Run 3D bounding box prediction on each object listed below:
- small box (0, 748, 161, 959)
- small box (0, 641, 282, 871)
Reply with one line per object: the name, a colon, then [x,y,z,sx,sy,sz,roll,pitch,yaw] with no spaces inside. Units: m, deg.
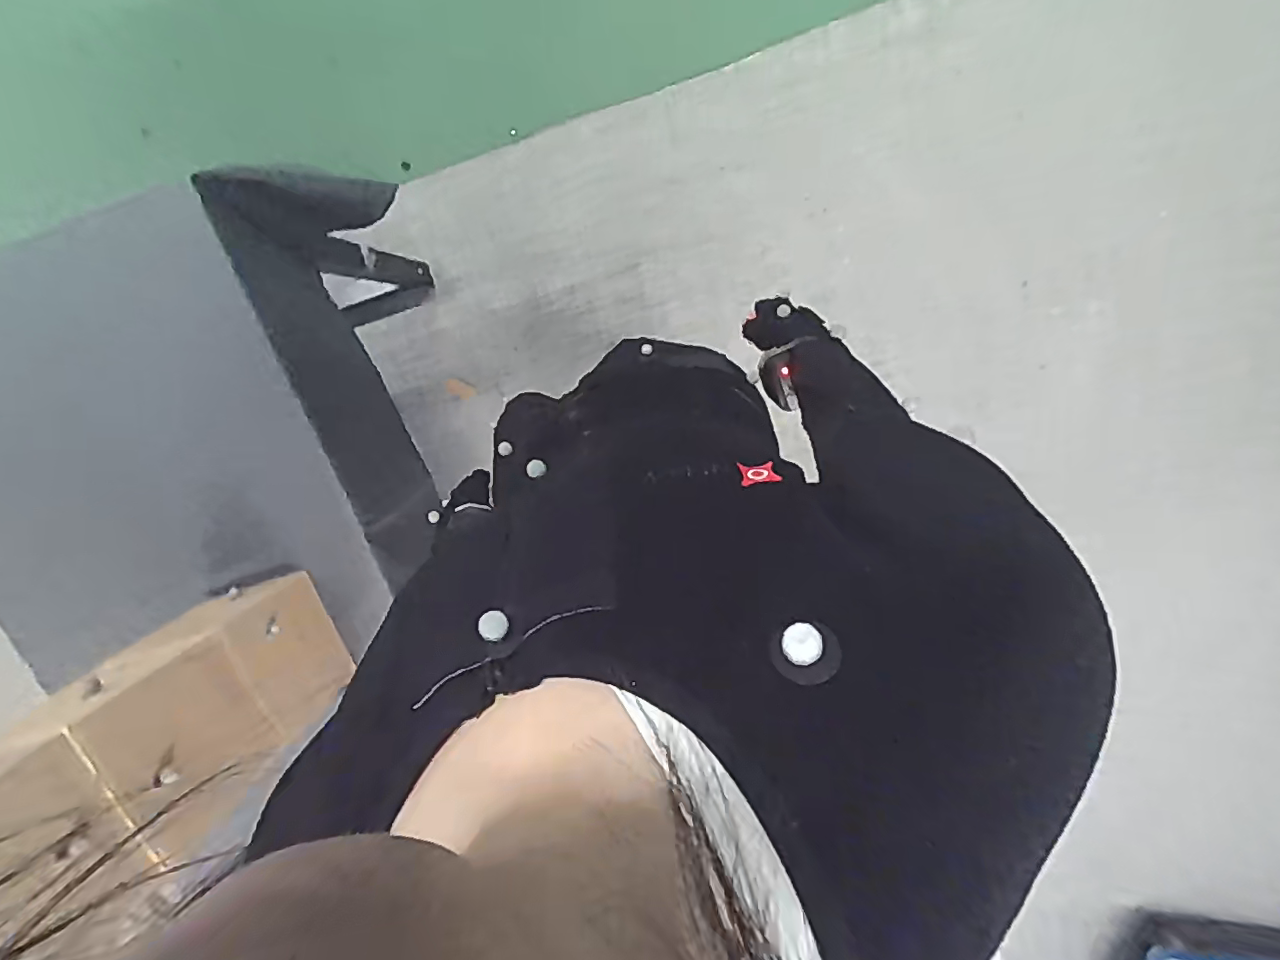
small box: [-0.555,0.343,0.428,0.168,0.176,0.179,-16,103,6]
small box: [-0.546,0.297,0.586,0.168,0.176,0.179,-18,104,6]
